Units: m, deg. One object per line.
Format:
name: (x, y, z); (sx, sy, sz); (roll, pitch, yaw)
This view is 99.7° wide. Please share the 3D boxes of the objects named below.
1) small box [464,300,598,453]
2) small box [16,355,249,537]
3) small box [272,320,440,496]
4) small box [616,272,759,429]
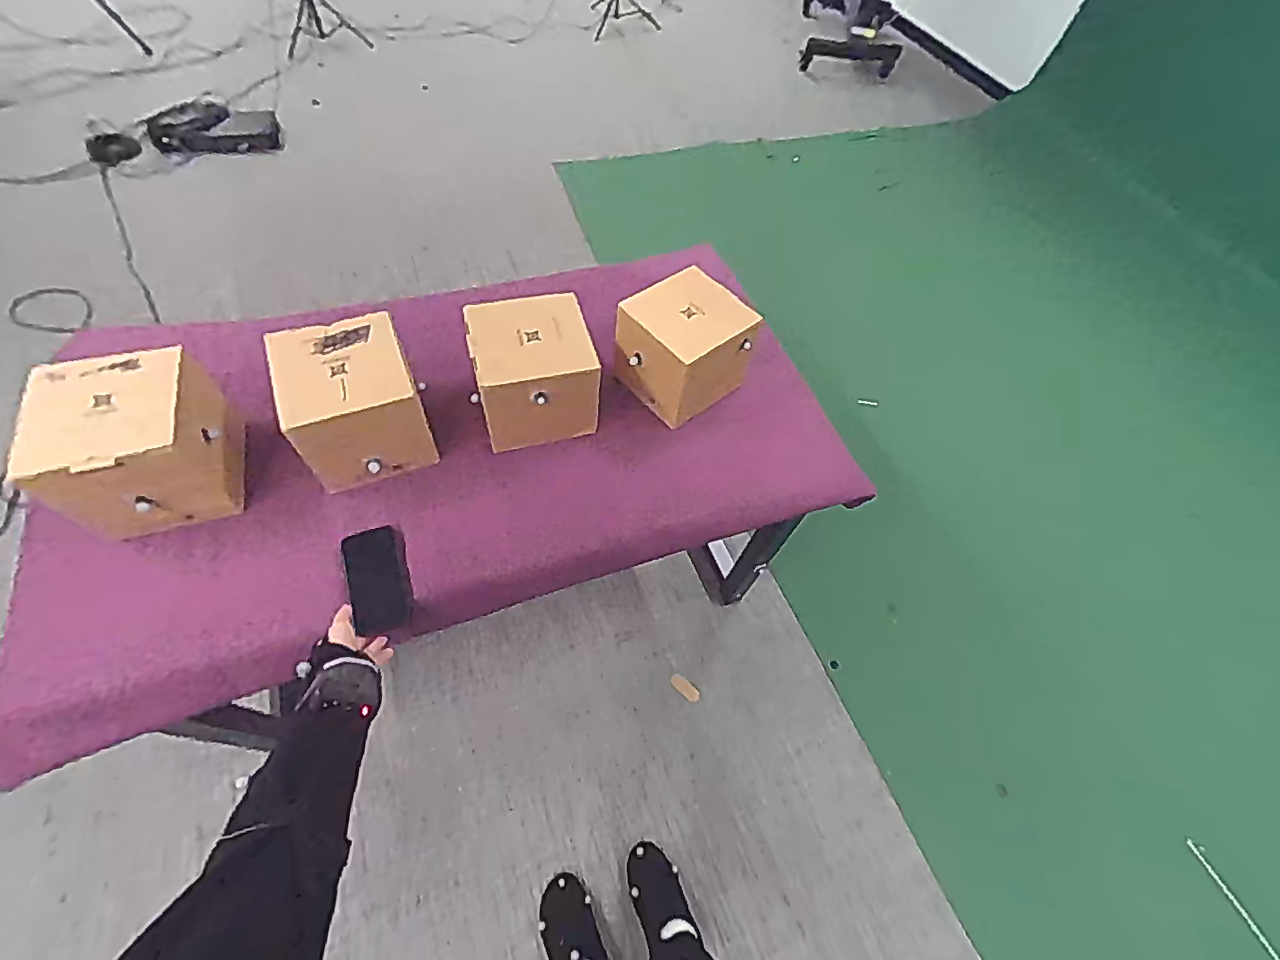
small box: (-0.171, -0.161, 0.873); (0.179, 0.176, 0.168); (-12, 61, -14)
small box: (-0.666, -0.038, 0.739); (0.168, 0.176, 0.179); (-14, 61, -15)
small box: (-0.416, -0.105, 0.809); (0.168, 0.176, 0.179); (-19, 63, -17)
small box: (0.073, -0.219, 0.936); (0.179, 0.176, 0.168); (-35, 67, -25)
